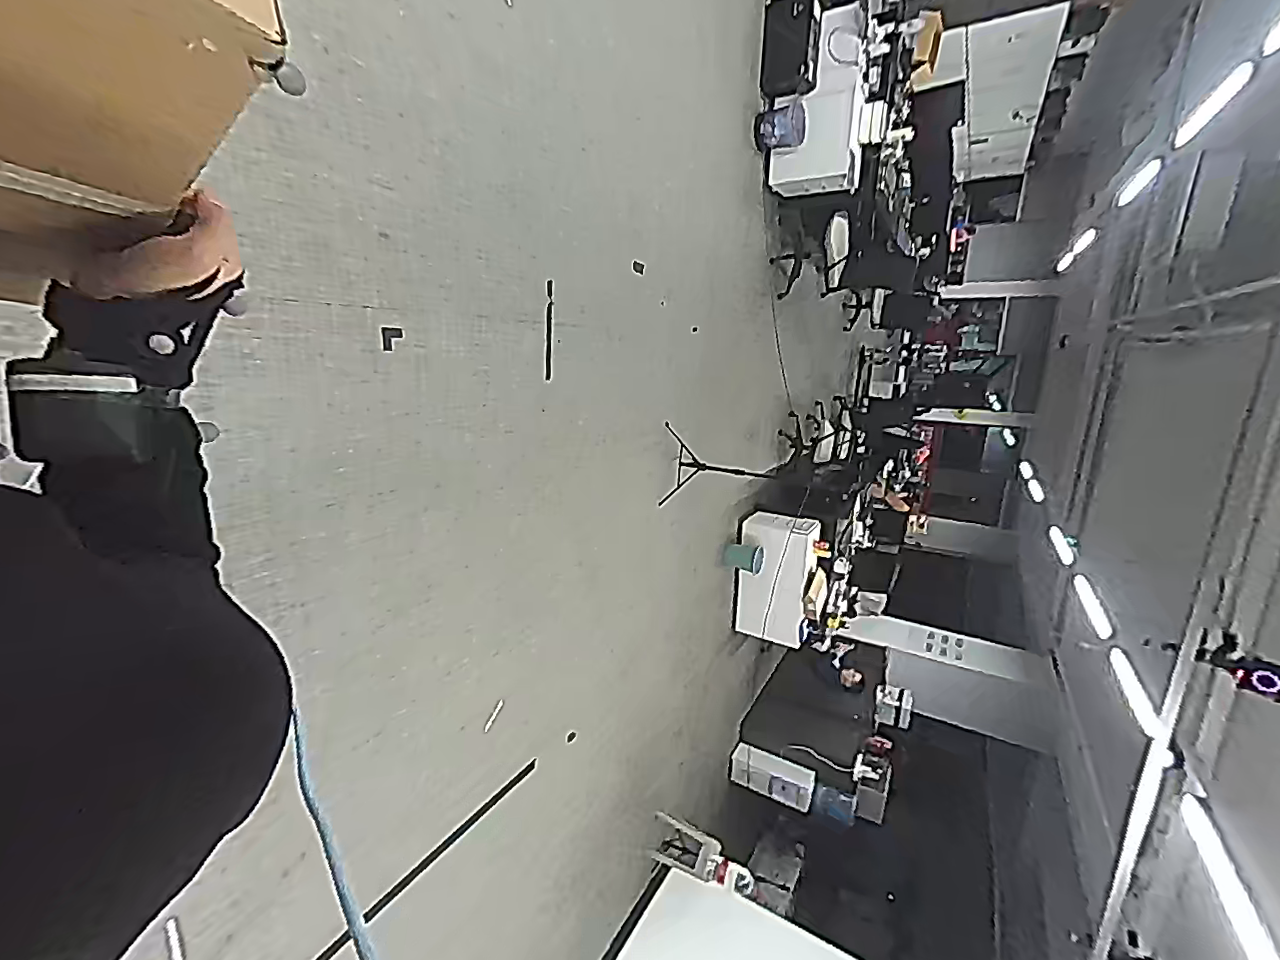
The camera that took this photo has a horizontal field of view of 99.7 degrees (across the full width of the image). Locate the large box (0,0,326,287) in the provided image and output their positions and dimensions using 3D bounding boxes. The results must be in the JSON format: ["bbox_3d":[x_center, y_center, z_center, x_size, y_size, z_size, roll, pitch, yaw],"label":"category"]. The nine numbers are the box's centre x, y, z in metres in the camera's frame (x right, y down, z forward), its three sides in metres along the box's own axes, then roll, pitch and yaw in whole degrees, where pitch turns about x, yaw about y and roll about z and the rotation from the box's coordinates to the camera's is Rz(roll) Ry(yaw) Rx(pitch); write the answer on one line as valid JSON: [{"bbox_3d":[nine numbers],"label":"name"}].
[{"bbox_3d":[-0.407,-0.312,0.172,0.408,0.320,0.320,-8,83,-58],"label":"large box"}]
